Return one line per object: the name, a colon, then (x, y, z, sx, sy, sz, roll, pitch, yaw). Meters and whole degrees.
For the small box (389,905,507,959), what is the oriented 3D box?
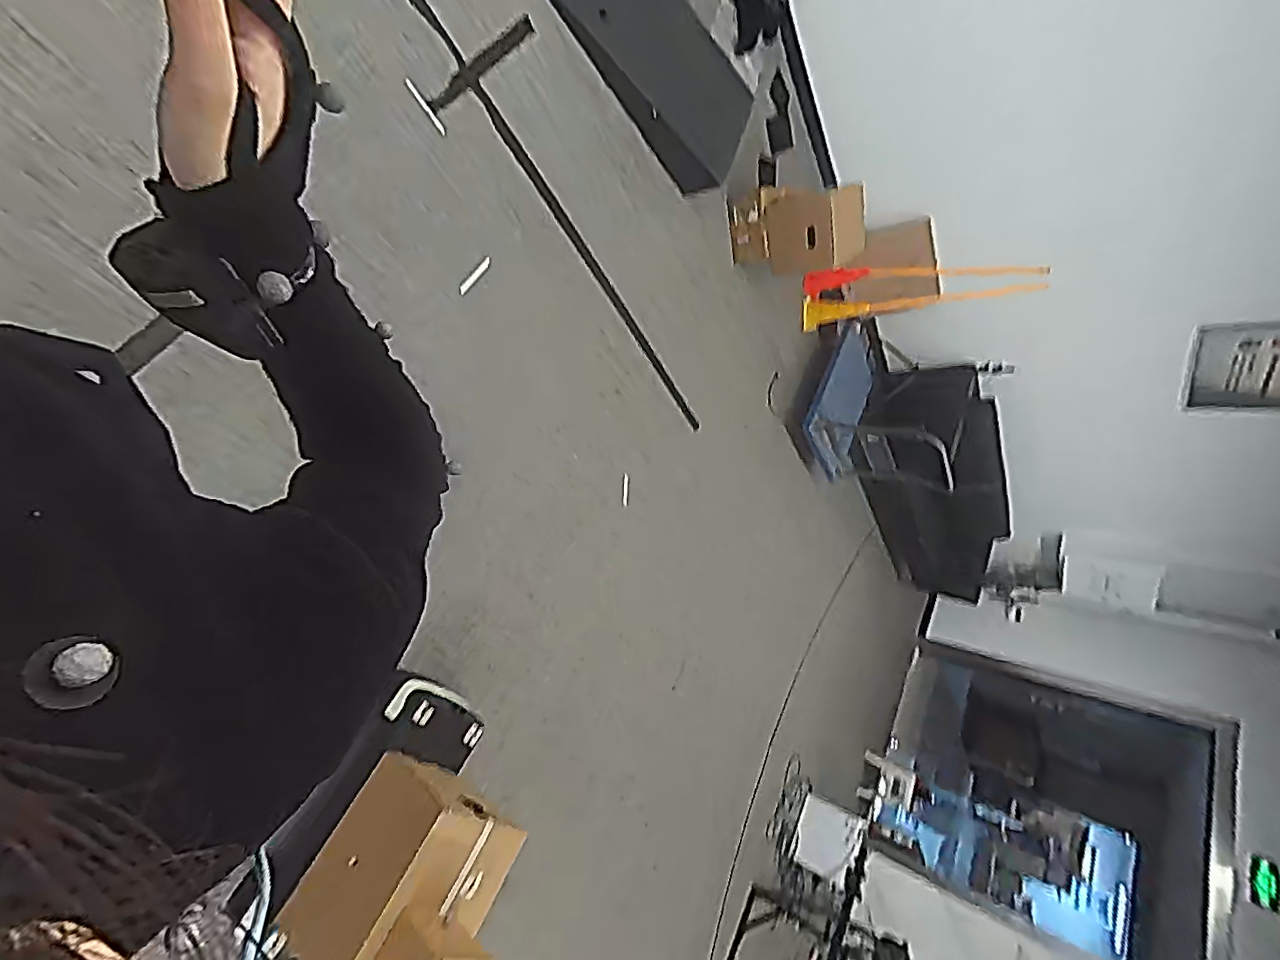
small box: (-0.415, 1.036, 1.121, 0.168, 0.176, 0.179, 50, 59, -39)

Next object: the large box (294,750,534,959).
large box: (-0.546, 0.962, 1.335, 0.320, 0.320, 0.408, 50, 58, -40)

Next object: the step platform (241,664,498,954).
step platform: (-0.707, 0.885, 1.502, 0.684, 0.204, 0.286, -57, 132, -27)
